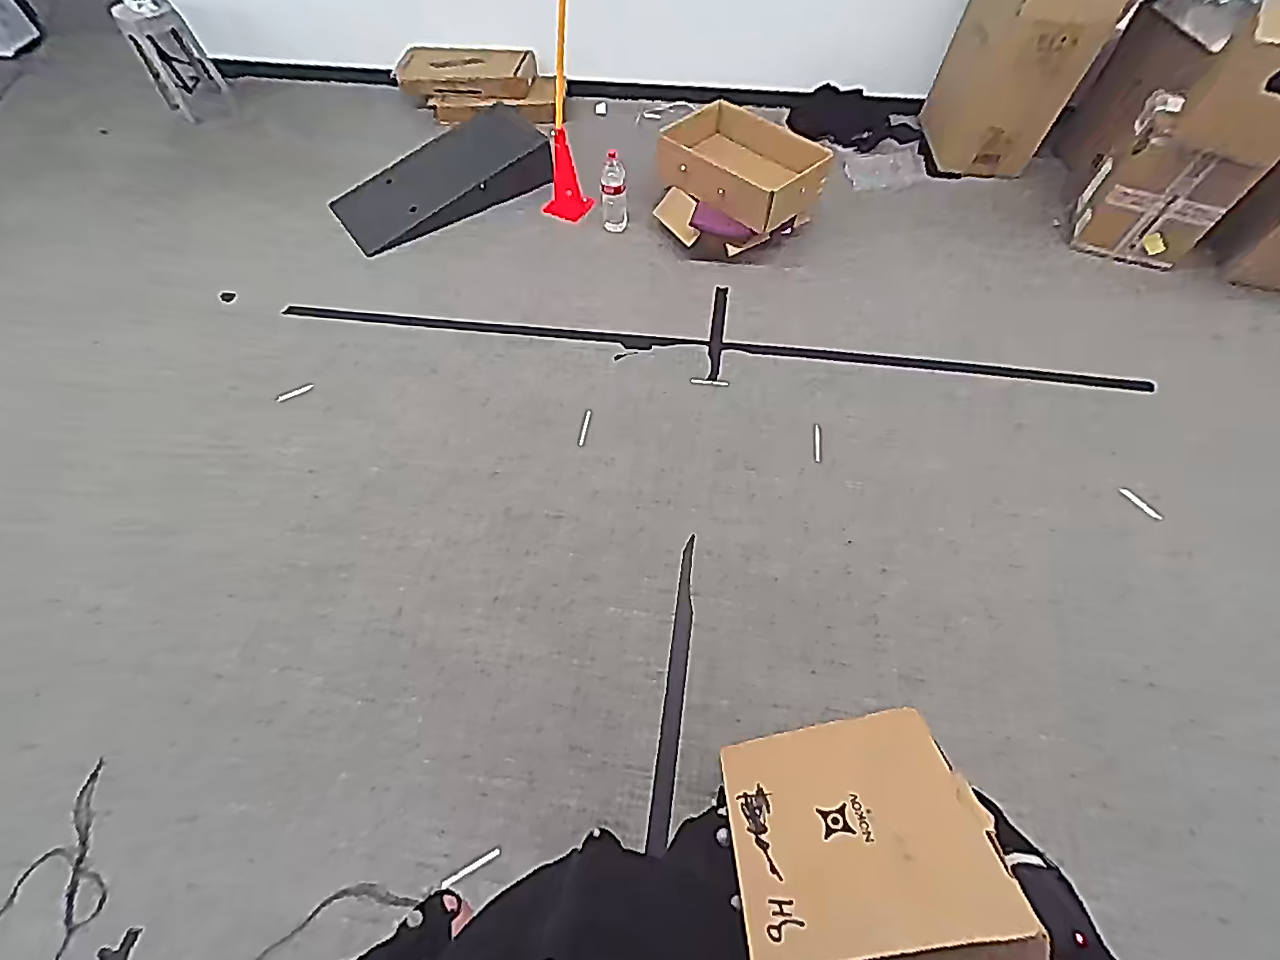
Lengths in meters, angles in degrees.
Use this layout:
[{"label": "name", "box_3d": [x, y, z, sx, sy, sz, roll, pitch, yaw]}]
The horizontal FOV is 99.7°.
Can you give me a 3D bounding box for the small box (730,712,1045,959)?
[{"label": "small box", "box_3d": [0.185, 0.327, 0.440, 0.179, 0.176, 0.168, -15, 23, 7]}]
